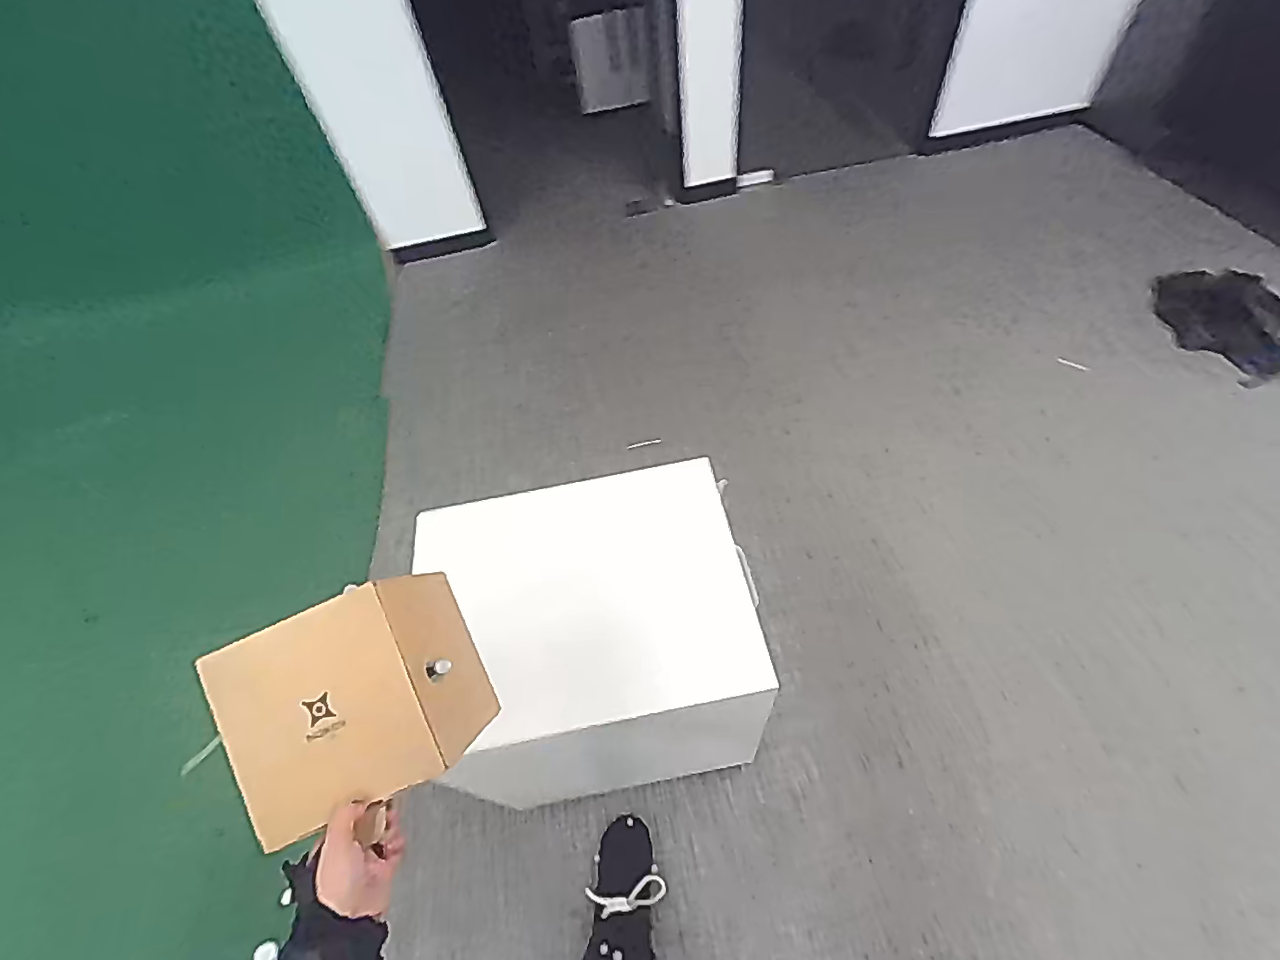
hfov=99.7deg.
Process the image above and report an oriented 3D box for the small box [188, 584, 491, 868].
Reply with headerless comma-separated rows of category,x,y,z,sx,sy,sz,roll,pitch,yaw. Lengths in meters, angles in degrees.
small box,-0.268,0.211,0.525,0.168,0.176,0.179,-25,85,-3
